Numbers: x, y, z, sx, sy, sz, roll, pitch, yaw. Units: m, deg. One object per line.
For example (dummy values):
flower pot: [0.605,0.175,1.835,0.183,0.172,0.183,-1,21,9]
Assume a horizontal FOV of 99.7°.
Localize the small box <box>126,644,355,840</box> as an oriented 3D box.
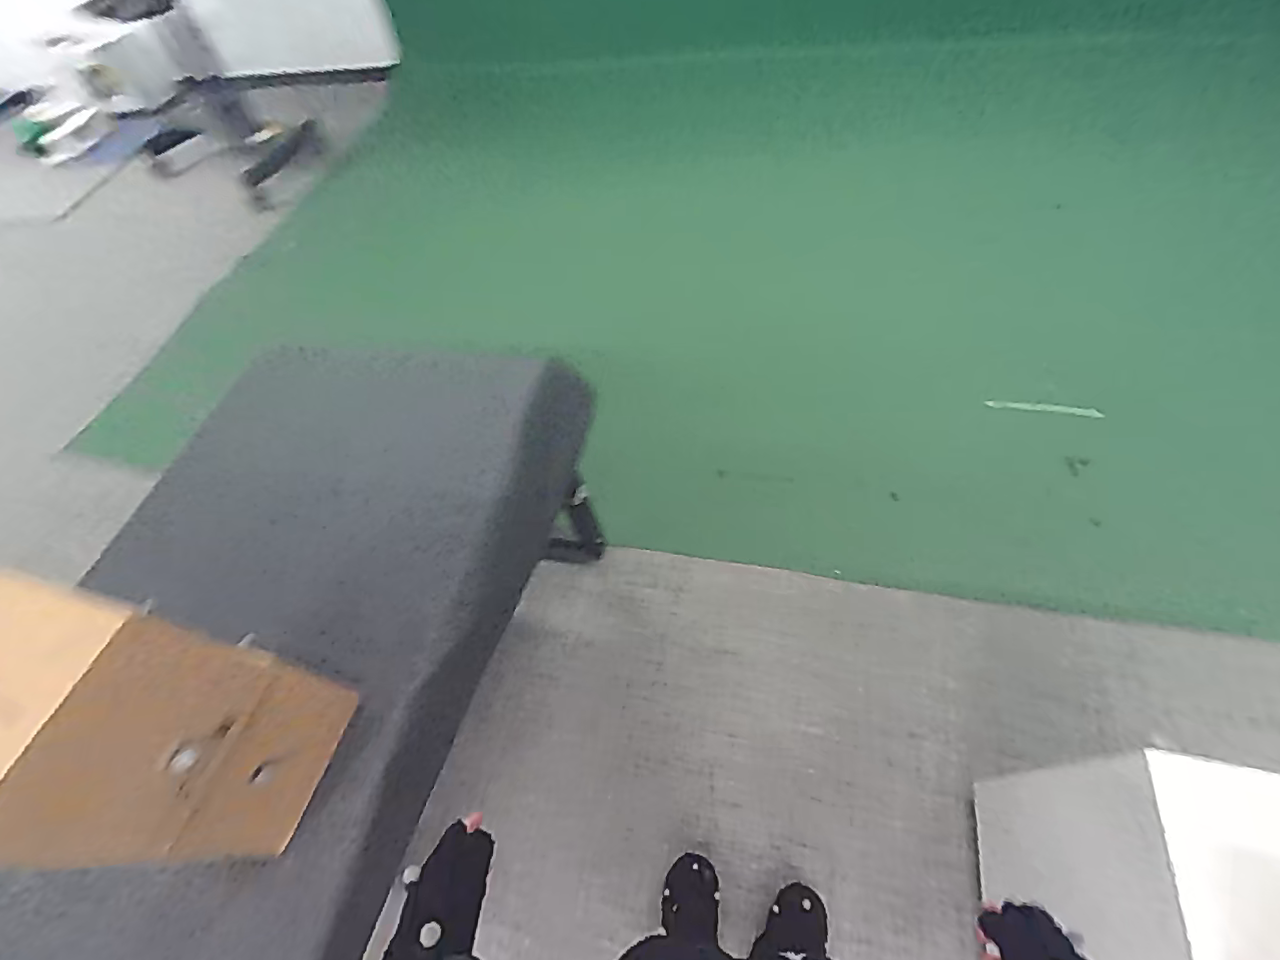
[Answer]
small box: [-0.462,0.273,0.603,0.168,0.176,0.179,9,61,14]
